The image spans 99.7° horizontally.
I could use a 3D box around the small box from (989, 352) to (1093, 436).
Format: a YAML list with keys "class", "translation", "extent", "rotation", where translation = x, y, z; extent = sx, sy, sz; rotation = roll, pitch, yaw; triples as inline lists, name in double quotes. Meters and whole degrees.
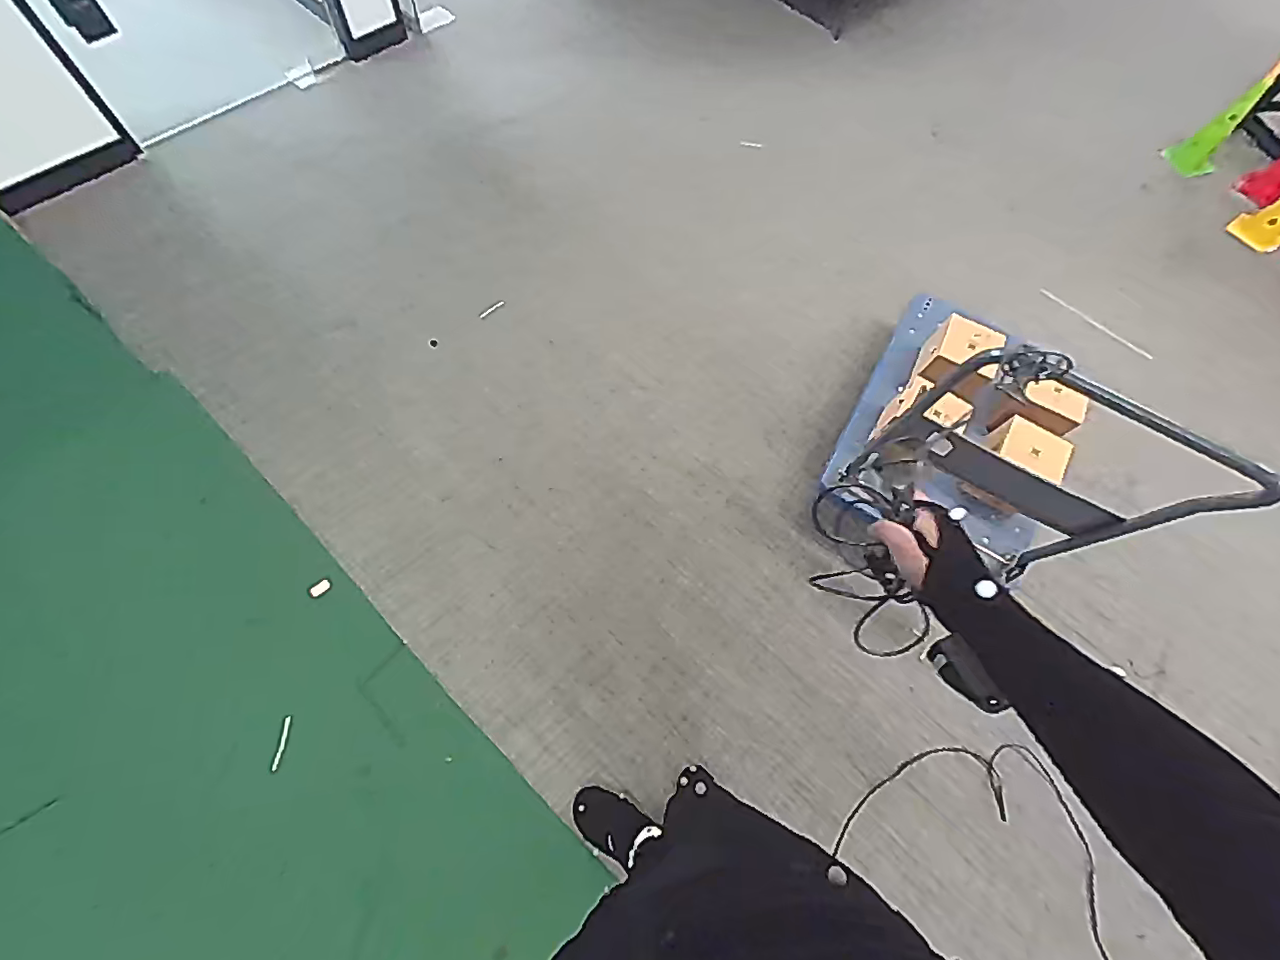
- class: "small box"
  translation: [1.154, -0.229, 1.567]
  extent: [0.168, 0.176, 0.179]
  rotation: [29, 68, 9]

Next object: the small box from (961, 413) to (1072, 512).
- class: "small box"
  translation: [1.021, -0.043, 1.479]
  extent: [0.168, 0.176, 0.179]
  rotation: [32, 69, 10]

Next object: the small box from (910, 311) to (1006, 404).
- class: "small box"
  translation: [0.936, -0.357, 1.607]
  extent: [0.168, 0.176, 0.179]
  rotation: [28, 68, 7]
